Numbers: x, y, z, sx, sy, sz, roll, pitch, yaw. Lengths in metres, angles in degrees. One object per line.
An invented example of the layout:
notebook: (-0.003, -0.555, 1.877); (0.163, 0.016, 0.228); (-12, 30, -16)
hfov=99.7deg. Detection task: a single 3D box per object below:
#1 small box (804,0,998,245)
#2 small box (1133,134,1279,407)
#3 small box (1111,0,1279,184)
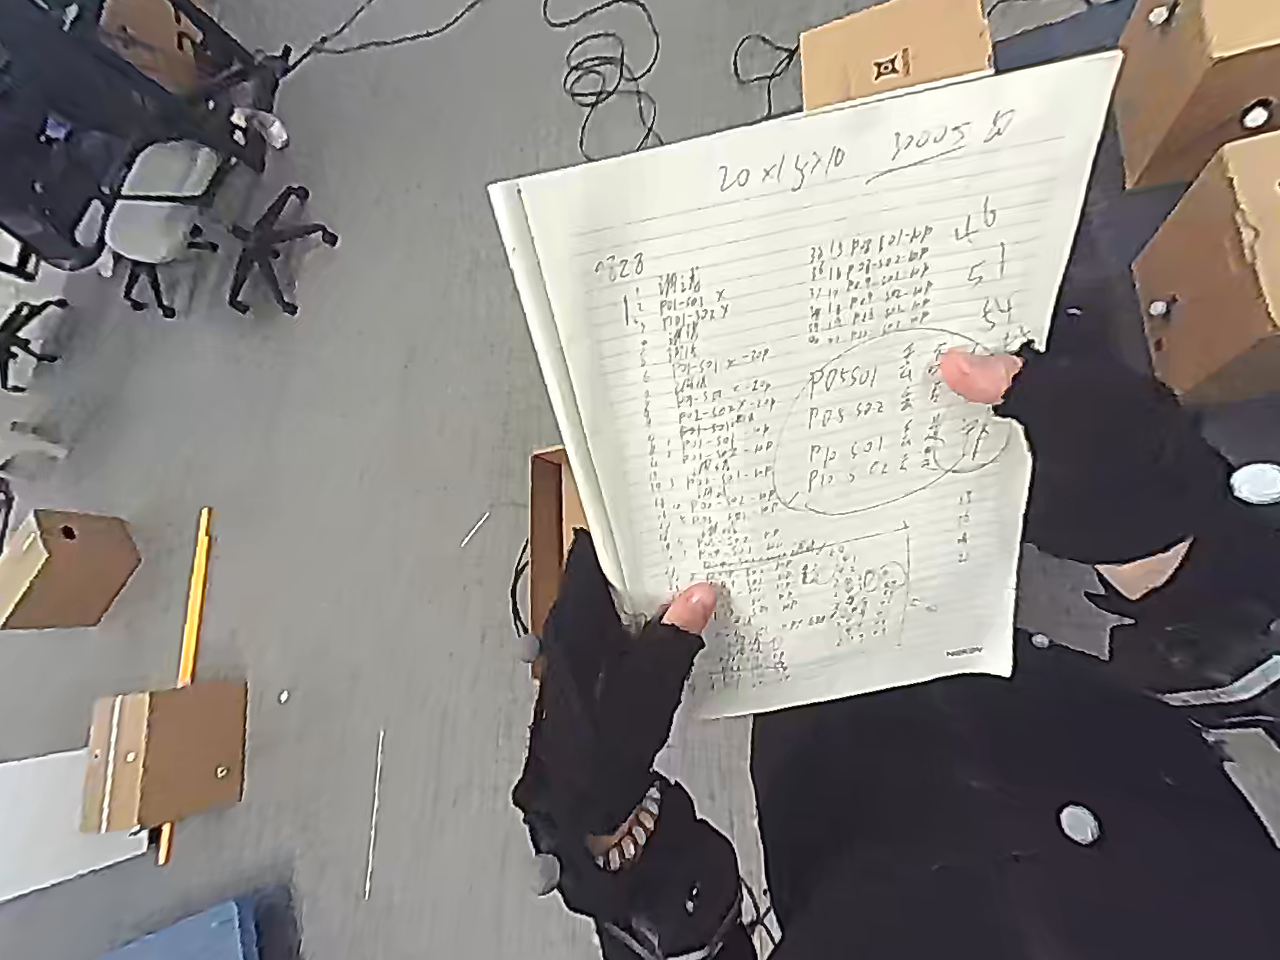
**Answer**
small box: (0.289, -0.406, 0.627); (0.179, 0.176, 0.168); (-3, 76, 22)
small box: (0.568, -0.172, 0.452); (0.179, 0.176, 0.168); (-4, 75, 23)
small box: (0.580, -0.411, 0.506); (0.168, 0.176, 0.179); (-2, 77, 23)
